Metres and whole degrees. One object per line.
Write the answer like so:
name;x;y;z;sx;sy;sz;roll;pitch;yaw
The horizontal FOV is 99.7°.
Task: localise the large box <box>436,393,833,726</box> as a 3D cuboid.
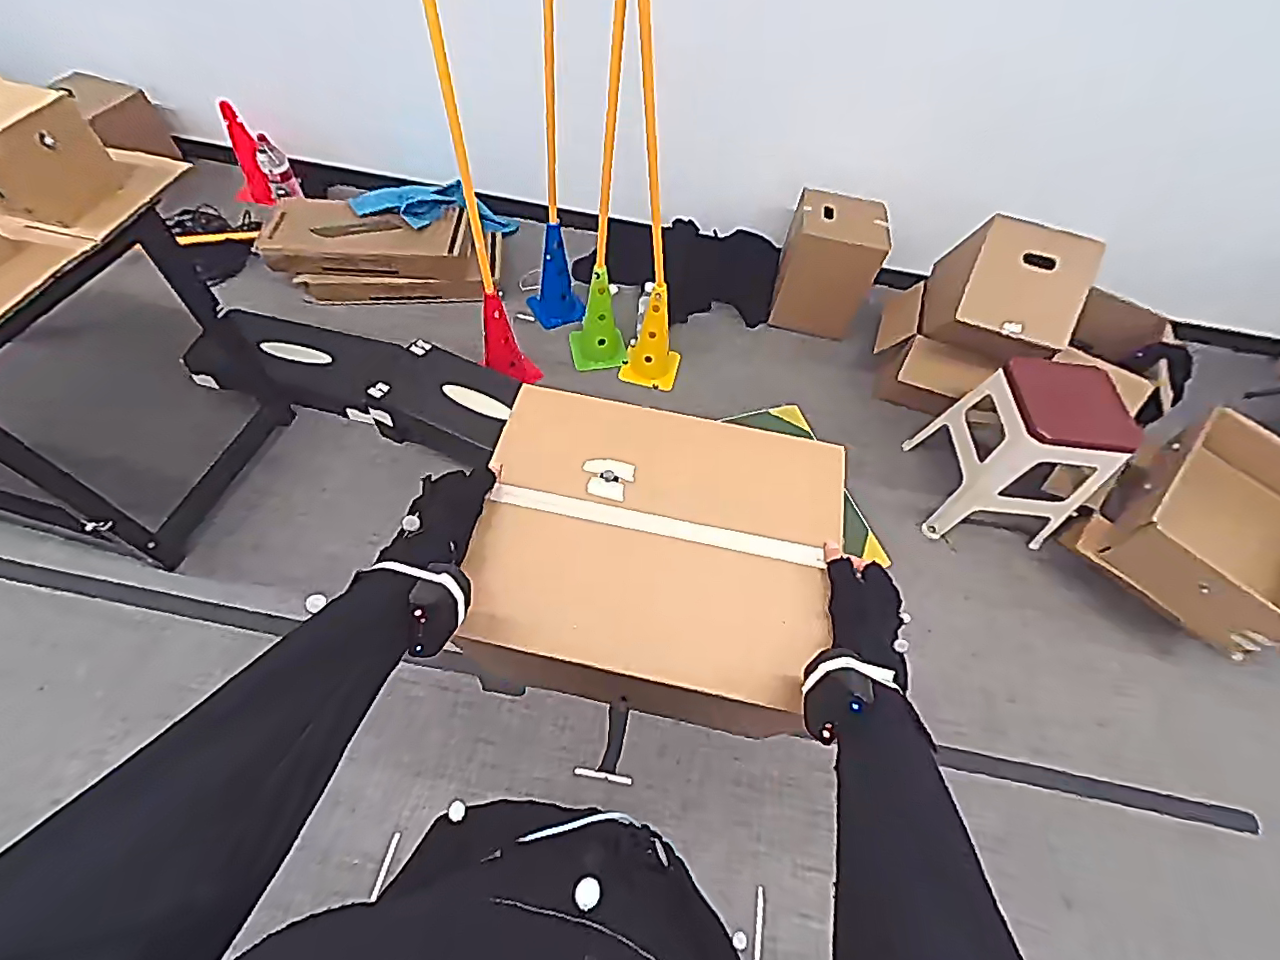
large box;0.013;0.125;0.737;0.408;0.320;0.320;12;61;5
